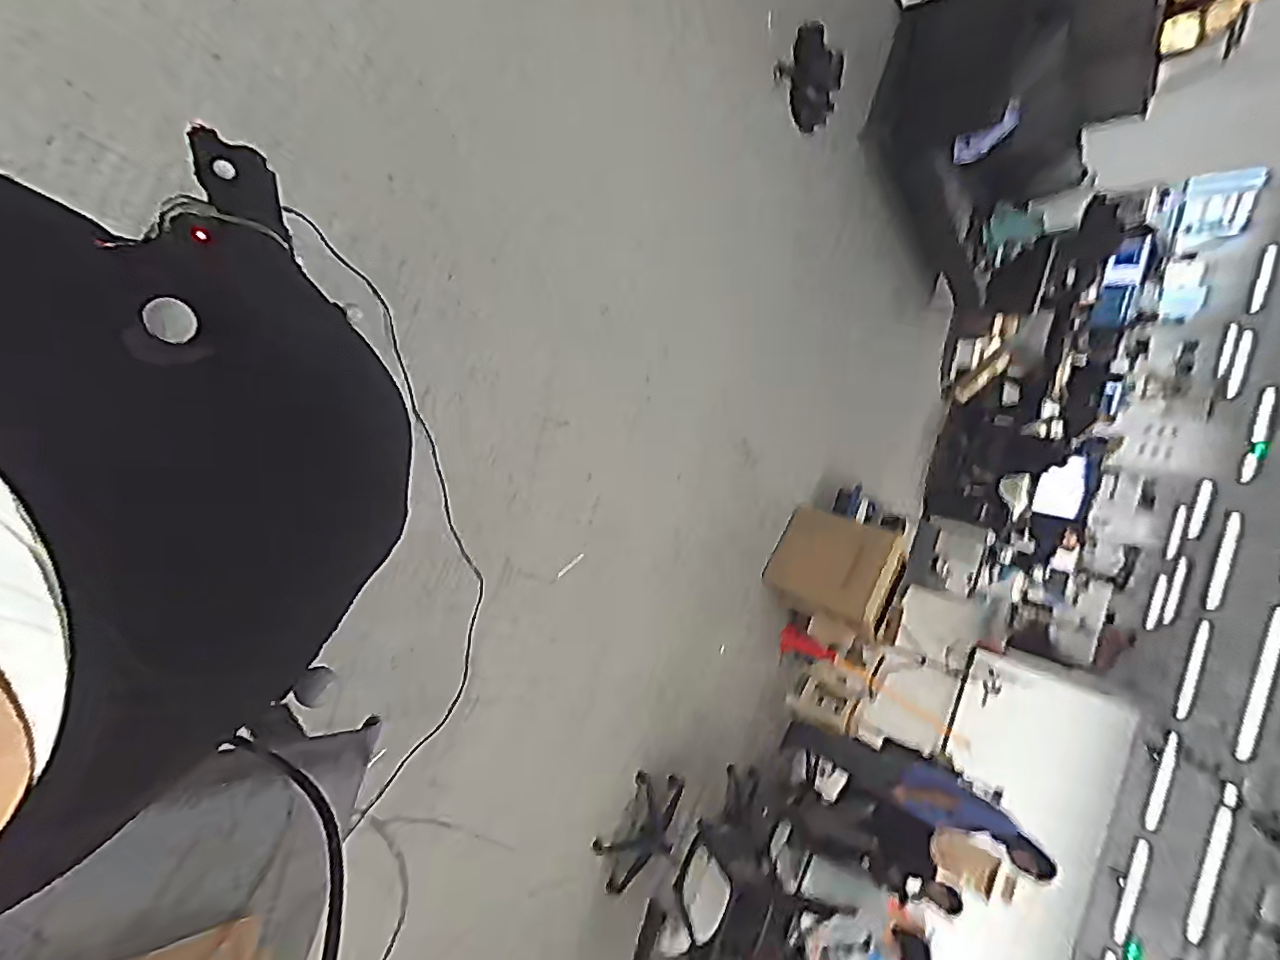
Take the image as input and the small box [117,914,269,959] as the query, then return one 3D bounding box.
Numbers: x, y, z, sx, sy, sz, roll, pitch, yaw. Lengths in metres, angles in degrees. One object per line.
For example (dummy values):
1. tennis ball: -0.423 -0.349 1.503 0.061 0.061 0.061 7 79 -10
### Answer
1. small box: -0.561 0.683 0.648 0.179 0.176 0.168 14 92 -48
